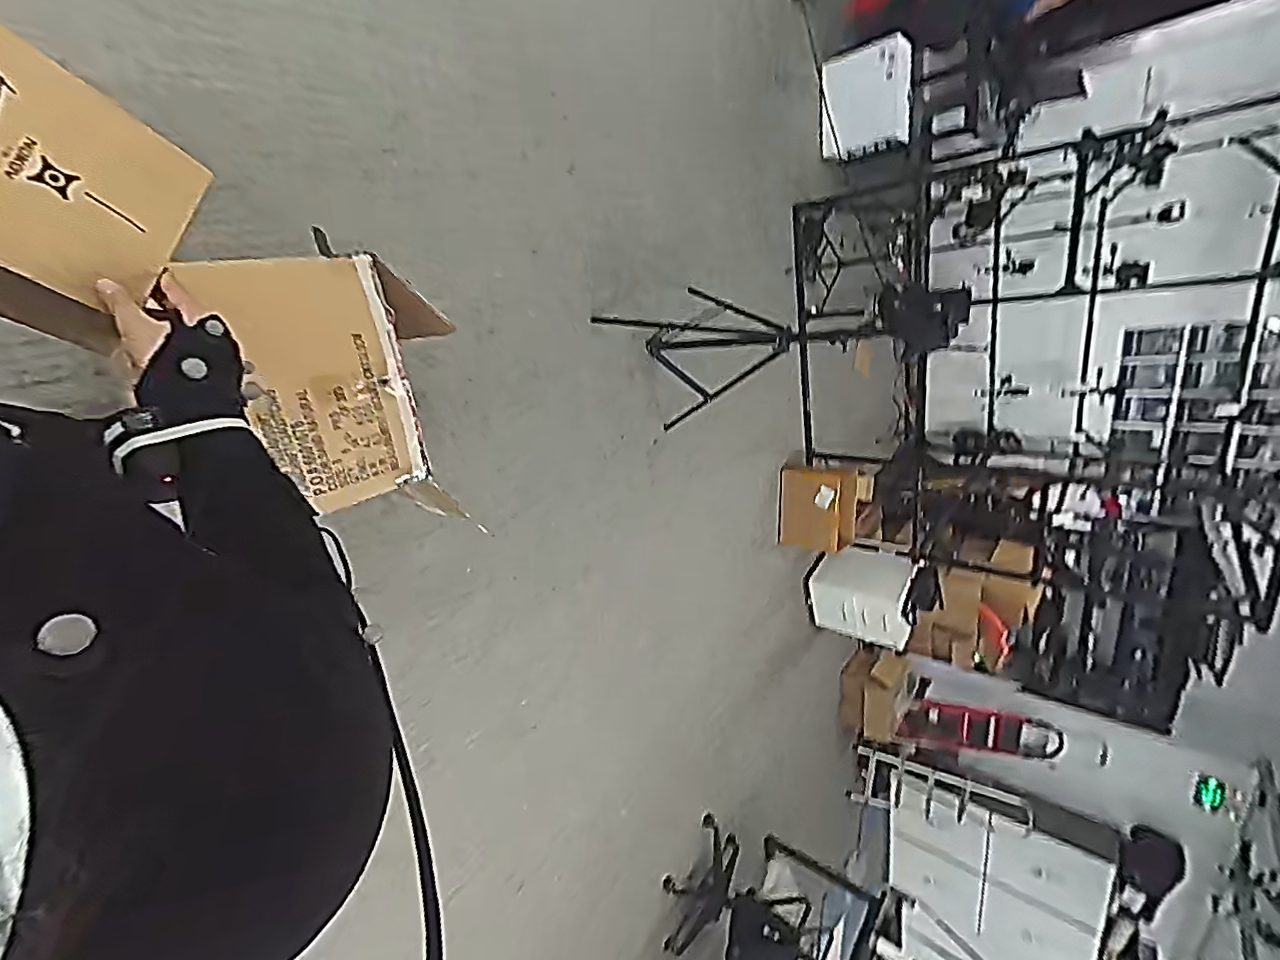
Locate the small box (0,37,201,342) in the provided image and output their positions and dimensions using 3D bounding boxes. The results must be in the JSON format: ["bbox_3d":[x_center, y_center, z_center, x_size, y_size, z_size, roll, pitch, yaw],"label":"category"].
[{"bbox_3d":[-0.527,-0.236,0.459,0.179,0.176,0.168,29,69,-46],"label":"small box"}]
